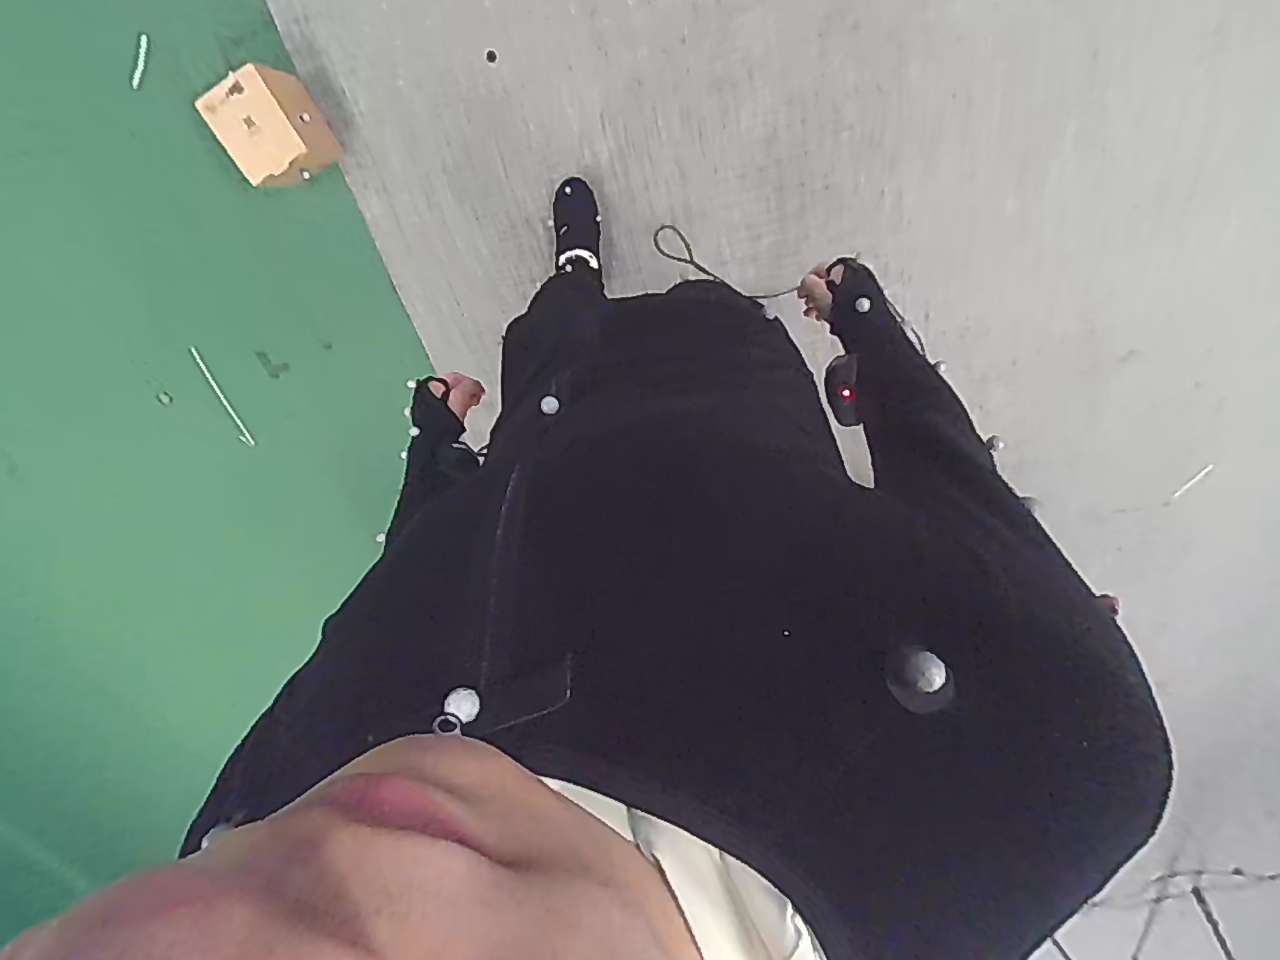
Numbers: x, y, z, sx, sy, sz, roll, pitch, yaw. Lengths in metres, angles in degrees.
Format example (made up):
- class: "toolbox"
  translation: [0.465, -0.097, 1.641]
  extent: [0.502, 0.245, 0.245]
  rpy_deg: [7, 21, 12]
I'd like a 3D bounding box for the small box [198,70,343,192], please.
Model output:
- class: "small box"
  translation: [-0.827, -0.785, 1.232]
  extent: [0.168, 0.176, 0.179]
  rpy_deg: [-23, 116, 12]
